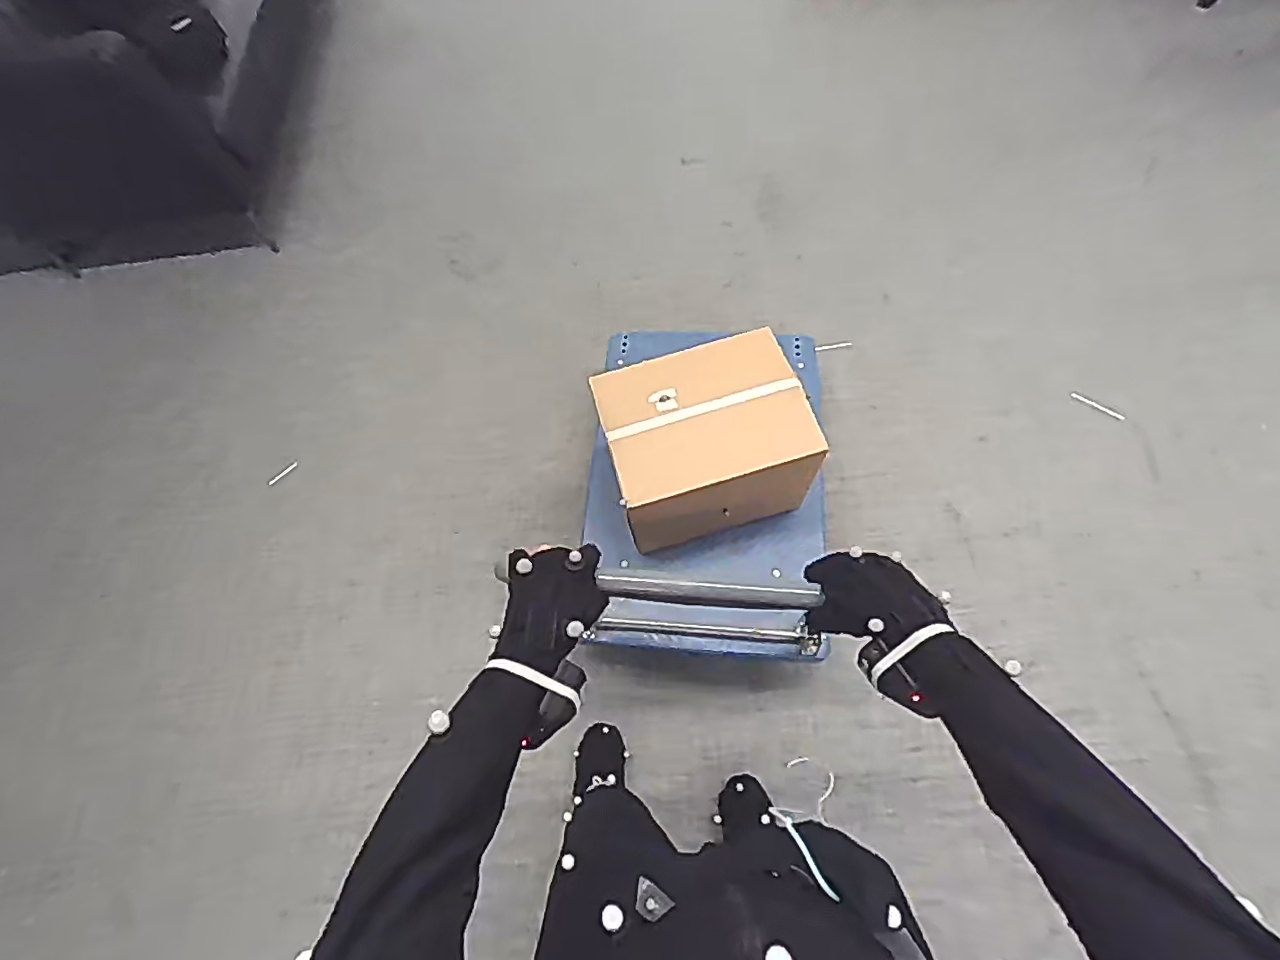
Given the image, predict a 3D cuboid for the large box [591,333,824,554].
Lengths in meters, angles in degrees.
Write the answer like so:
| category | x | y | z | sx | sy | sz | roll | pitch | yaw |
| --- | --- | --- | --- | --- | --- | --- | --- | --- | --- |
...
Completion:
| category | x | y | z | sx | sy | sz | roll | pitch | yaw |
| --- | --- | --- | --- | --- | --- | --- | --- | --- | --- |
| large box | 0.142 | -0.068 | 1.231 | 0.408 | 0.320 | 0.320 | -17 | 64 | -1 |
